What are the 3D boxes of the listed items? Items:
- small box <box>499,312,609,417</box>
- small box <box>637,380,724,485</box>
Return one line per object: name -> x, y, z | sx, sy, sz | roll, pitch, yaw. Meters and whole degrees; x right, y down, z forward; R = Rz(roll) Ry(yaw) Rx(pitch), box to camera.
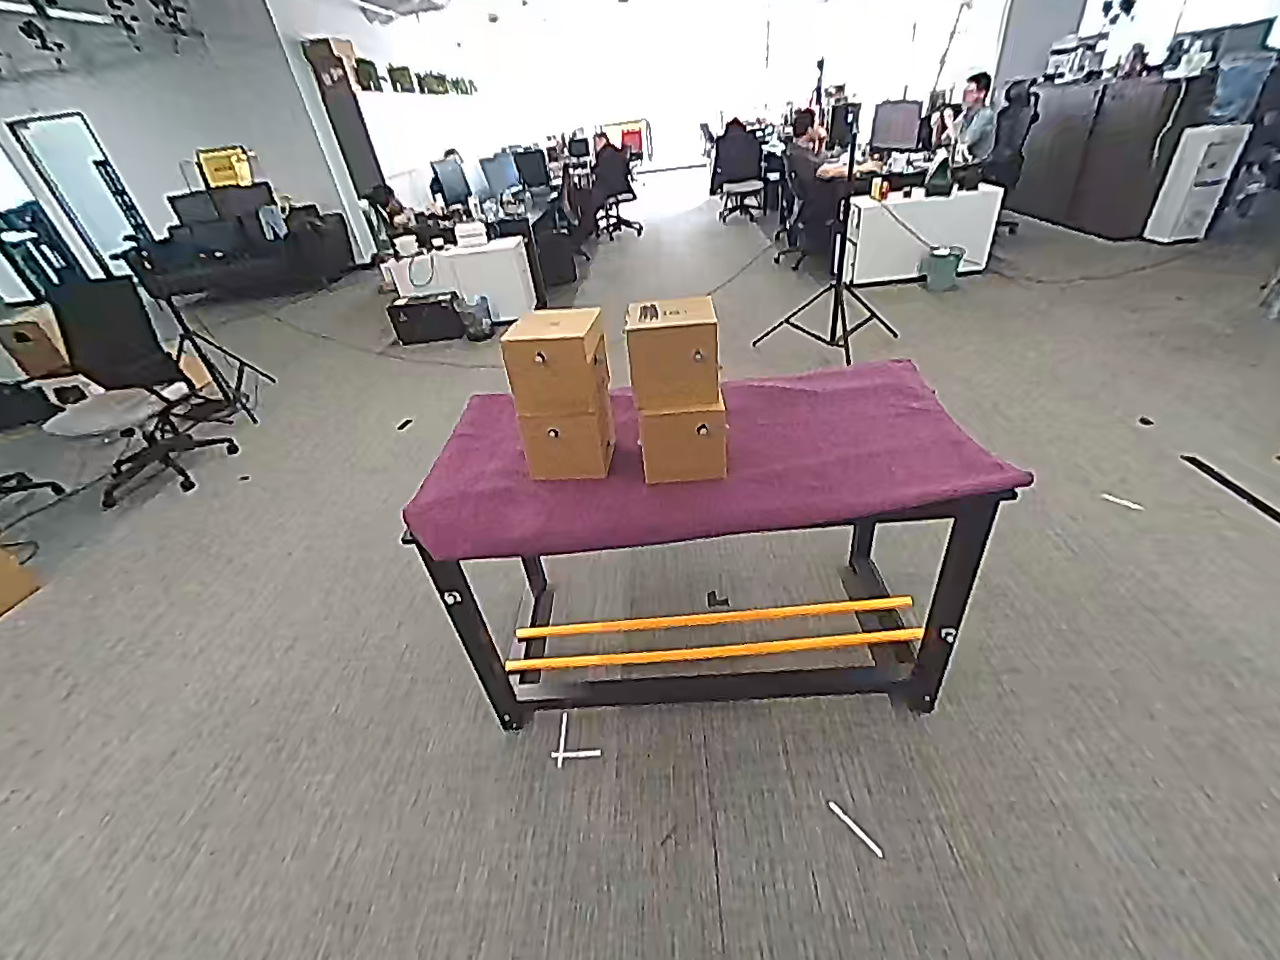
small box -> -0.171, -0.244, 1.150 | 0.179, 0.176, 0.168 | 0, 35, 11
small box -> 0.090, -0.104, 1.187 | 0.179, 0.176, 0.168 | -4, 33, 4
